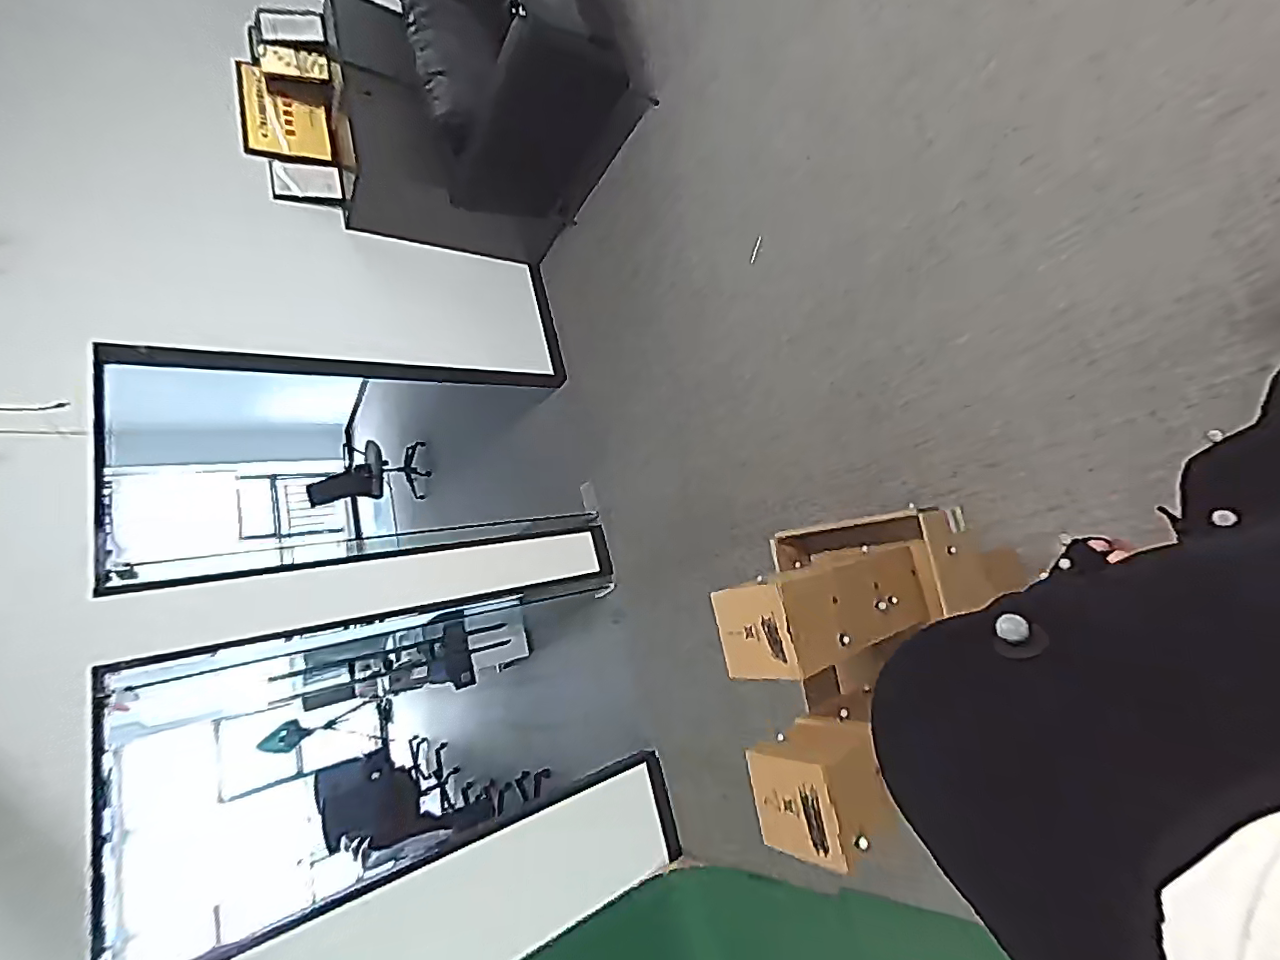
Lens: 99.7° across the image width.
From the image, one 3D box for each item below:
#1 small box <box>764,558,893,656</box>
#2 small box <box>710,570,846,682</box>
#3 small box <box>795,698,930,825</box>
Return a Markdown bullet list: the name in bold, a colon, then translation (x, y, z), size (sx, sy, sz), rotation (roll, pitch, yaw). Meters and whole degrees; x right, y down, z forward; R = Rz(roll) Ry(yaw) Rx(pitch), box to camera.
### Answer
- **small box**: translation (0.392, 0.264, 1.132), size (0.179, 0.176, 0.168), rotation (-23, 76, 50)
- **small box**: translation (0.267, 0.274, 1.027), size (0.179, 0.176, 0.168), rotation (-24, 76, 51)
- **small box**: translation (0.447, 0.553, 1.091), size (0.179, 0.176, 0.168), rotation (-19, 78, 50)
